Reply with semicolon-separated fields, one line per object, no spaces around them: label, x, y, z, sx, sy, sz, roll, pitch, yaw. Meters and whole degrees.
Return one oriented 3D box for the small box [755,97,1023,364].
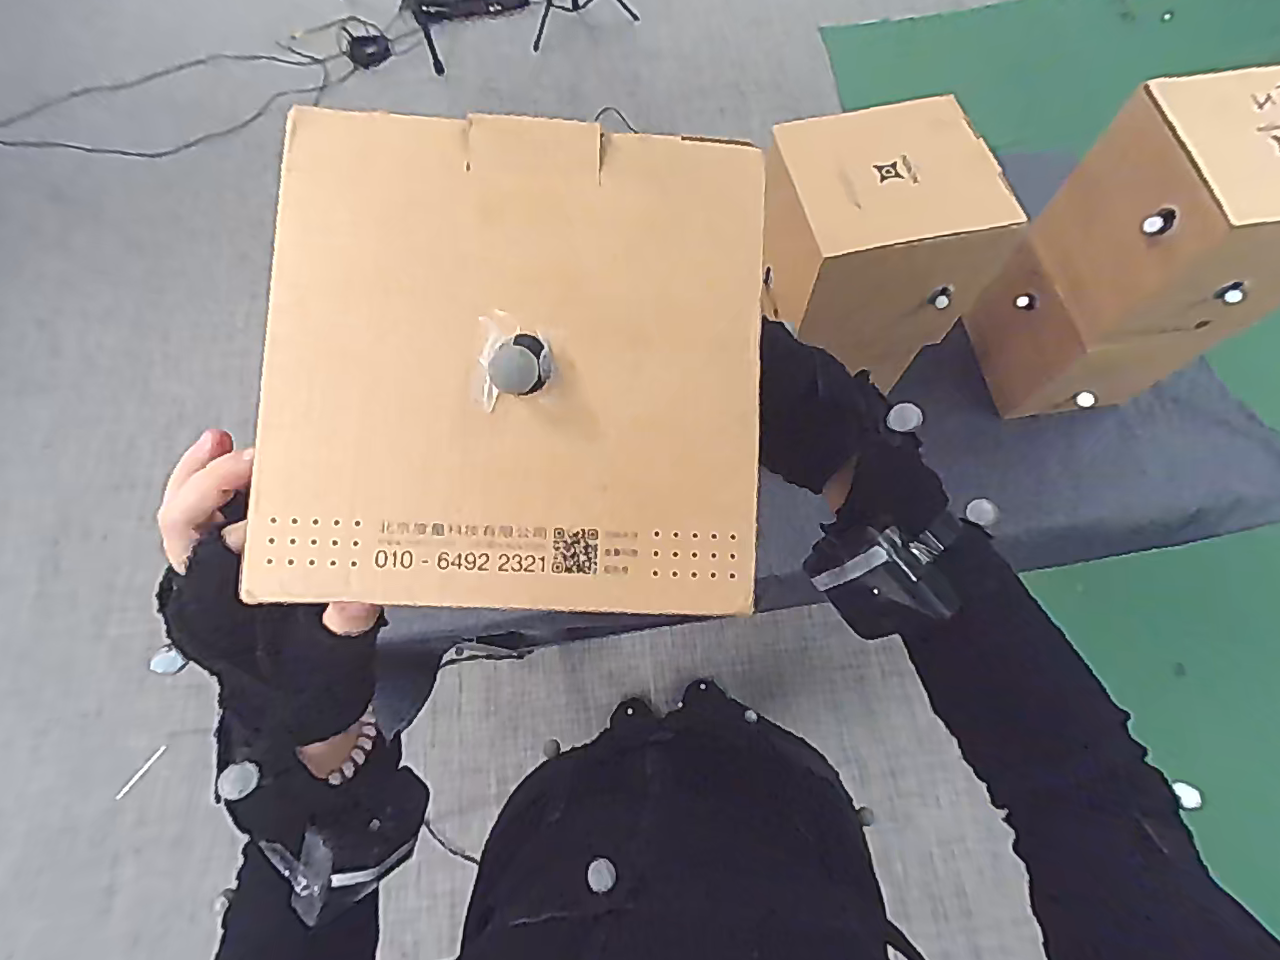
small box;0.228;-0.241;0.552;0.179;0.176;0.168;-10;68;0

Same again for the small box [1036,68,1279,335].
small box;0.548;-0.260;0.537;0.168;0.176;0.179;-6;69;2

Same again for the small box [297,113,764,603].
small box;-0.042;-0.036;0.270;0.168;0.179;0.176;3;86;-4
